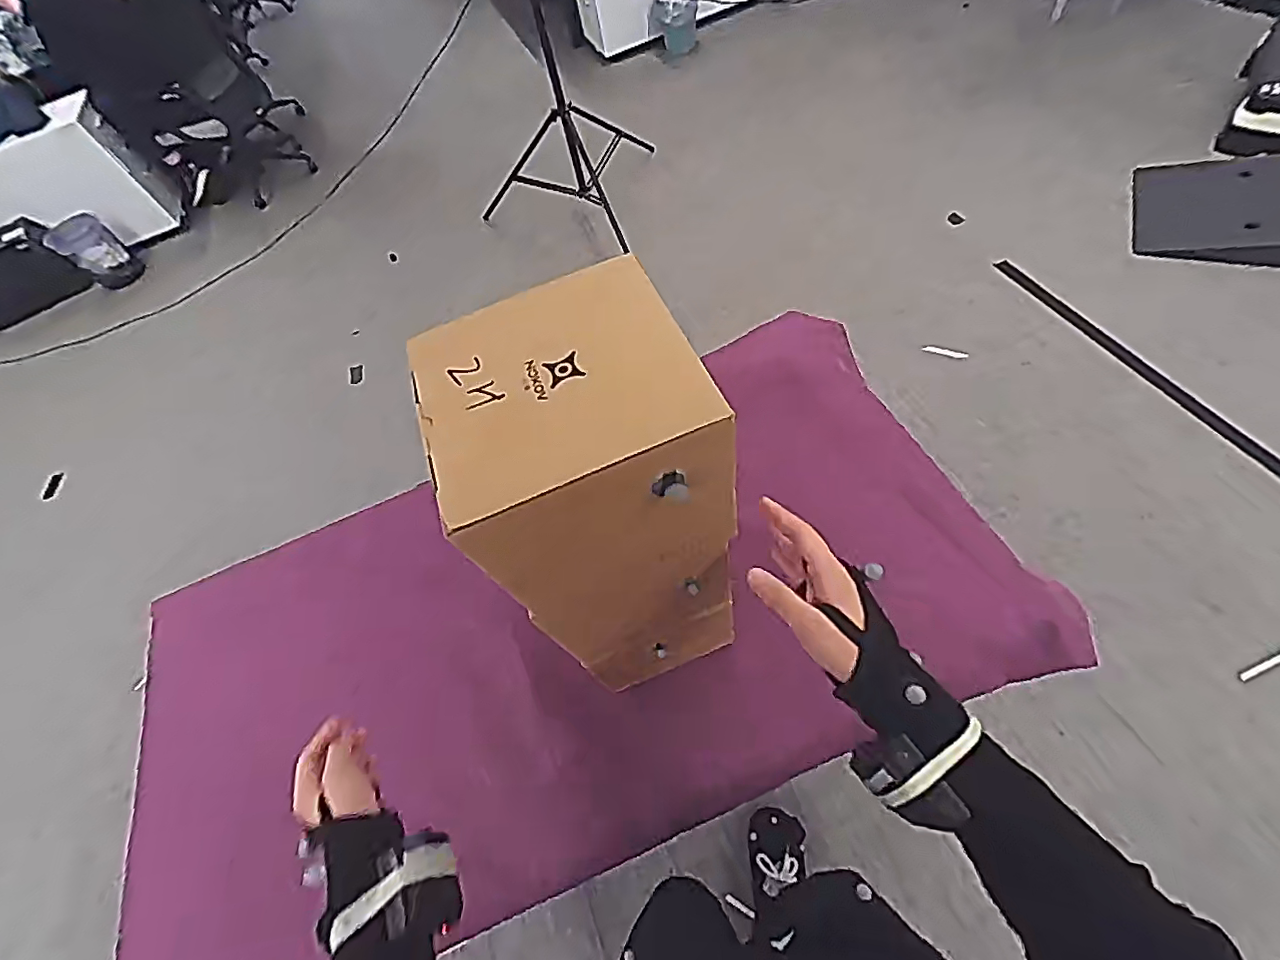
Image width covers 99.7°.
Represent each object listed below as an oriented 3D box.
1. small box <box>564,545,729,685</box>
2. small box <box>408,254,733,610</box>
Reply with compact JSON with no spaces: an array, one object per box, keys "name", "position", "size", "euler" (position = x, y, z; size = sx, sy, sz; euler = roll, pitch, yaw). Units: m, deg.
[{"name":"small box","position":[0.003,0.142,0.688],"size":[0.179,0.176,0.168],"euler":[-22,59,-3]},{"name":"small box","position":[-0.043,-0.027,0.408],"size":[0.179,0.176,0.168],"euler":[-23,58,-3]}]
